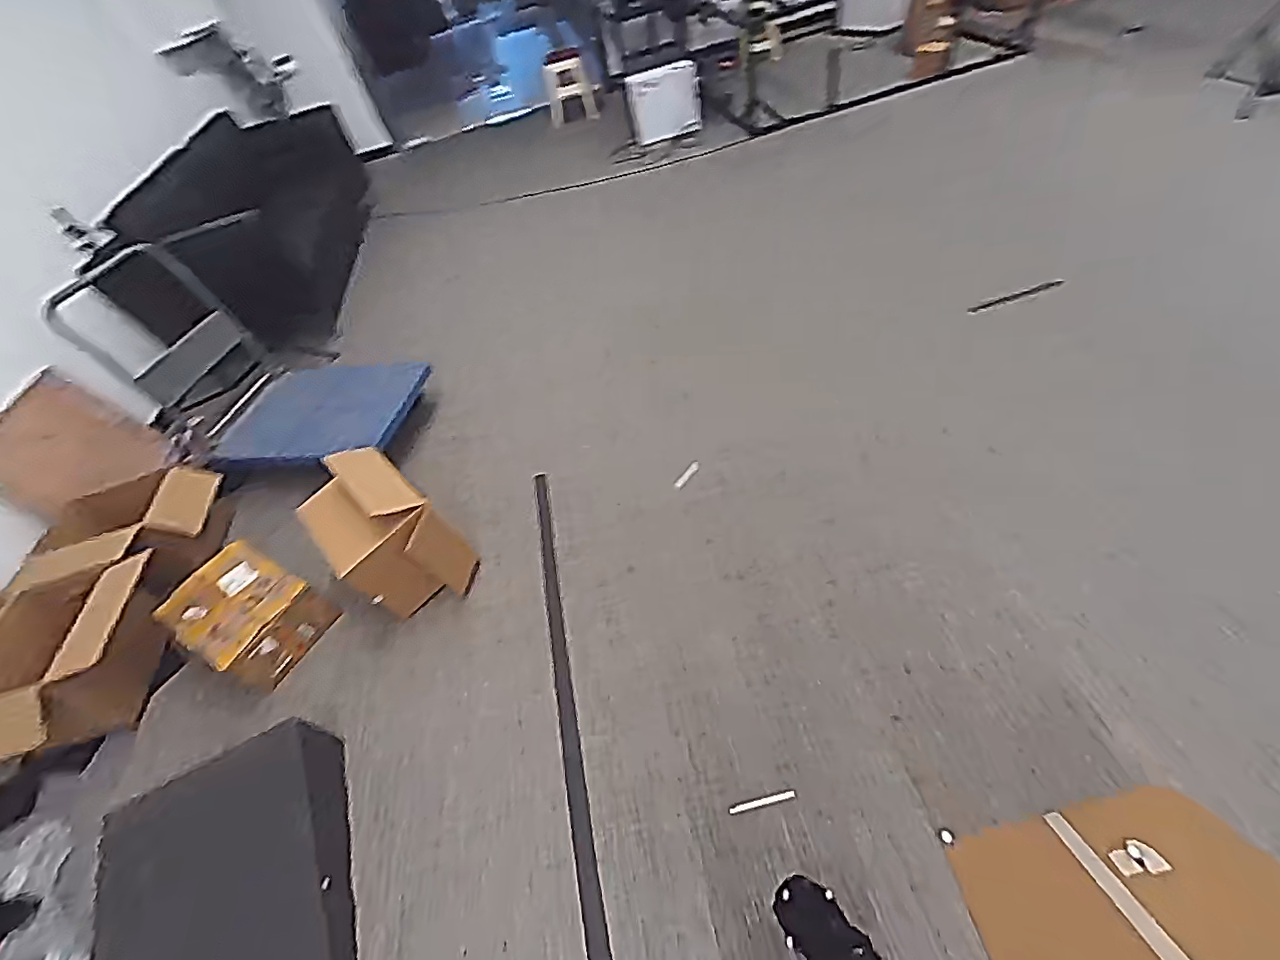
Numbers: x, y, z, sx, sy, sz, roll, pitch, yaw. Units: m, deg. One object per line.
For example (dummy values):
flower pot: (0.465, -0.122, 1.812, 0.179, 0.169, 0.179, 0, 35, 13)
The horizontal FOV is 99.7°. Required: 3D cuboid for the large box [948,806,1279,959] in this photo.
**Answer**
large box: (0.596, 0.627, 0.559, 0.320, 0.408, 0.320, -24, 78, 13)
